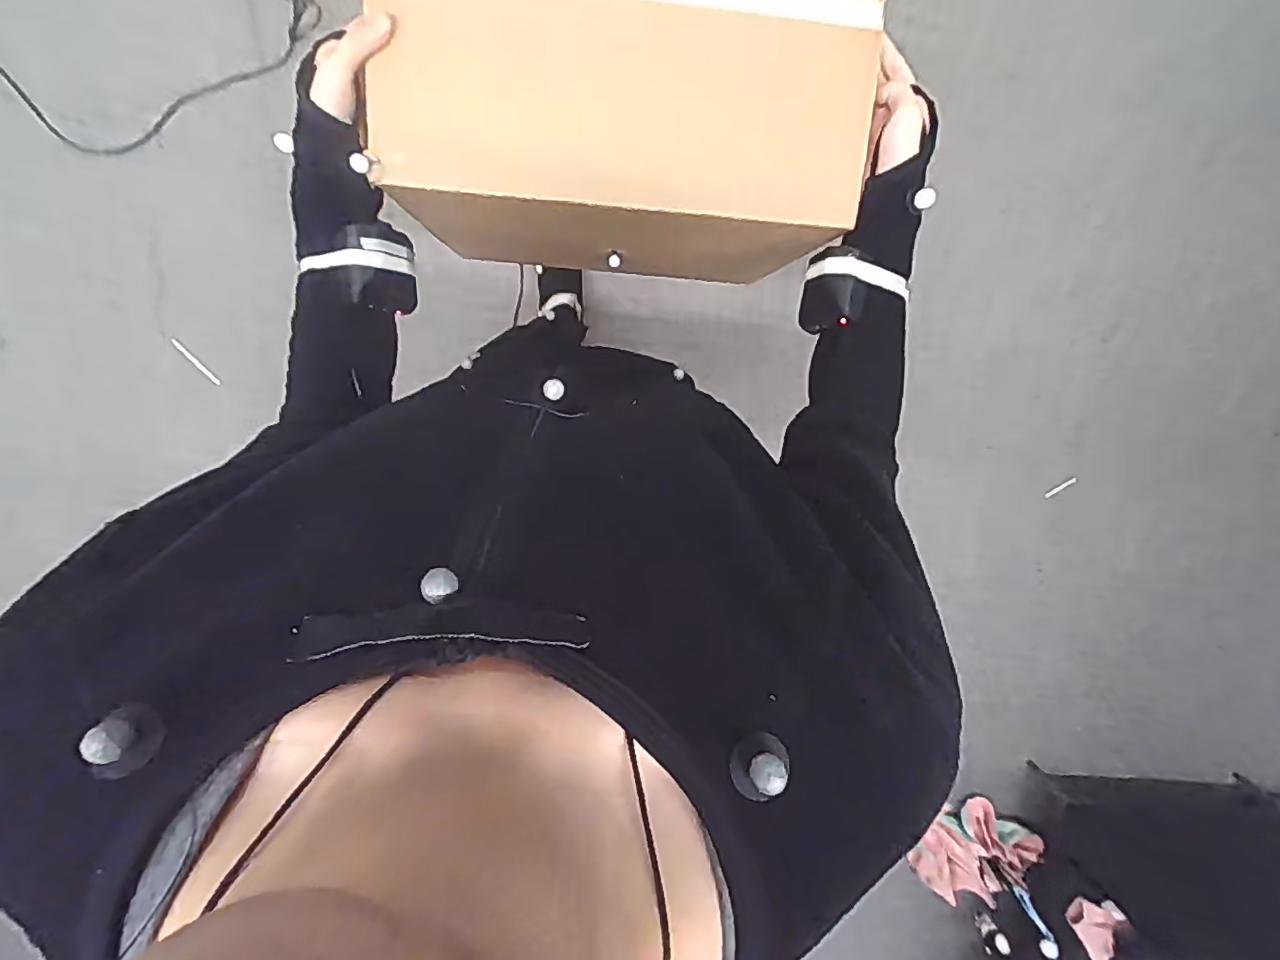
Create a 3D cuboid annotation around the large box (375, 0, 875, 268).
[{"bbox_3d":[-0.015,-0.420,0.573,0.408,0.320,0.320,3,101,-5],"label":"large box"}]
